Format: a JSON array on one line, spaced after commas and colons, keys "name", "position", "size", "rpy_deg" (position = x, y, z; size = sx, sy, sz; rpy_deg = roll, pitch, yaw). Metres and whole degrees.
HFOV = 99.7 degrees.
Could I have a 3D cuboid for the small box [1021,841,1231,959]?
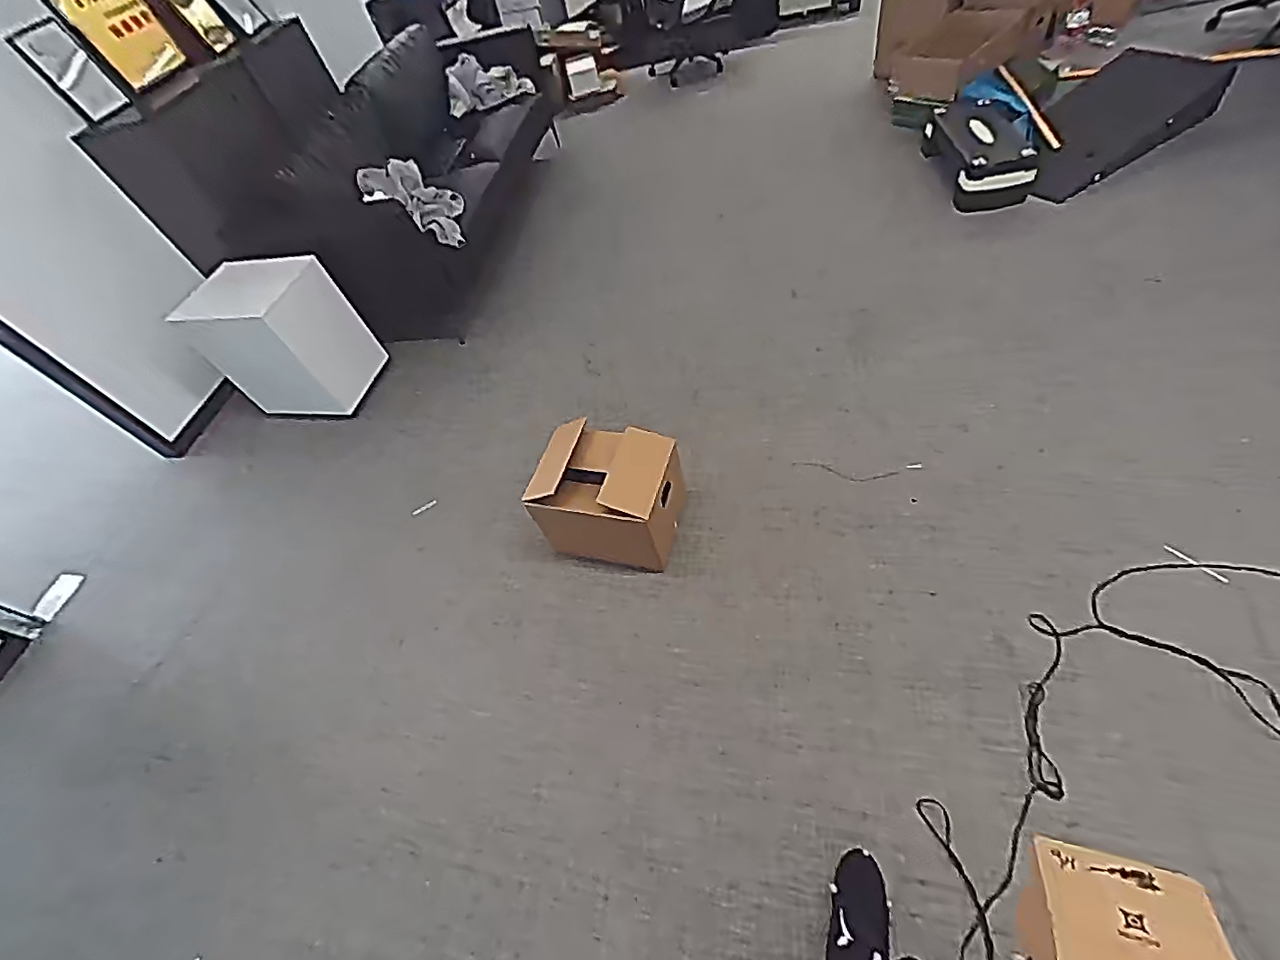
[{"name": "small box", "position": [0.563, 0.581, 0.632], "size": [0.168, 0.176, 0.179], "rpy_deg": [-1, 21, 25]}]
